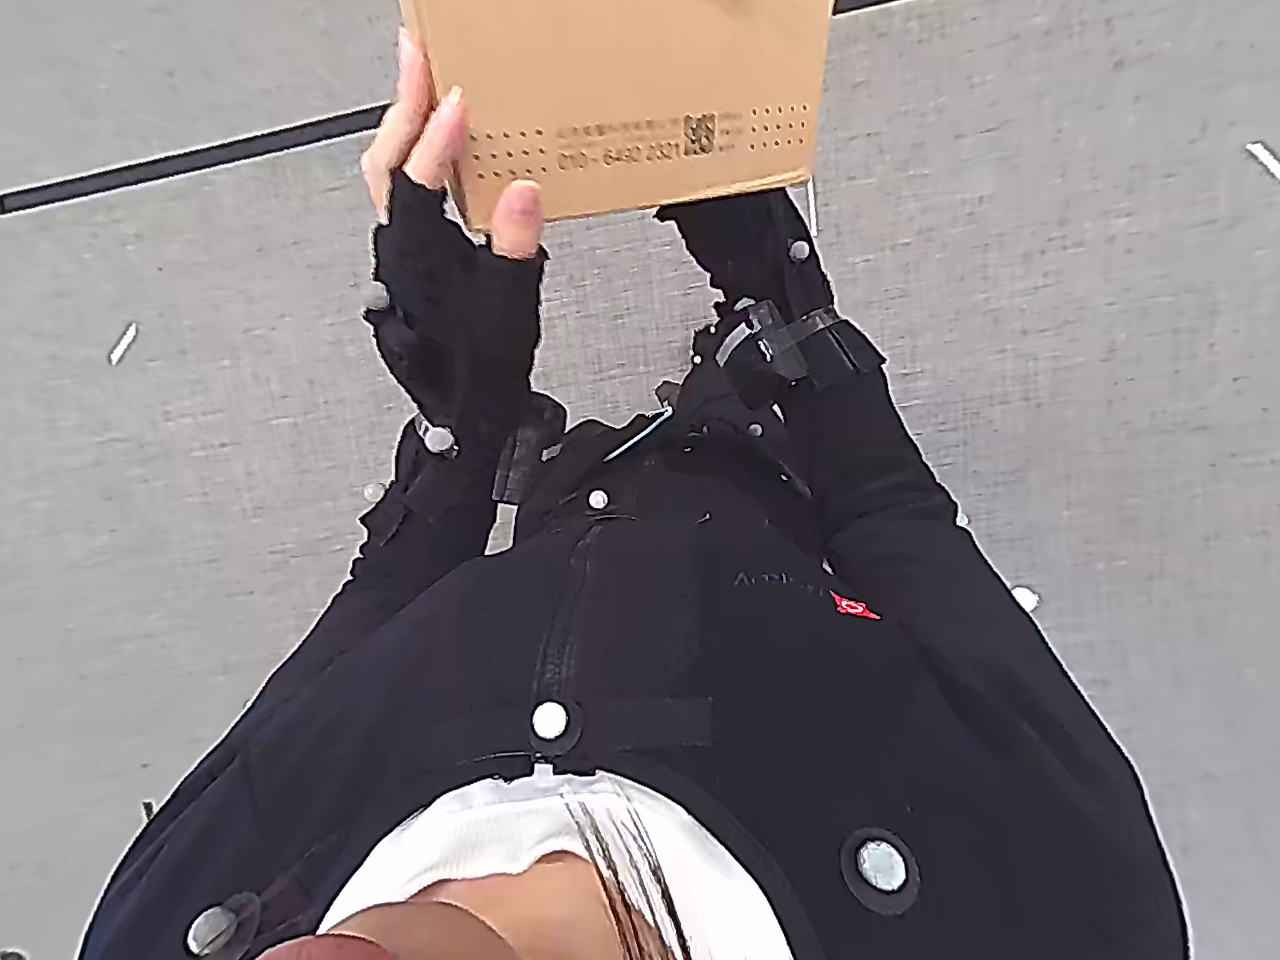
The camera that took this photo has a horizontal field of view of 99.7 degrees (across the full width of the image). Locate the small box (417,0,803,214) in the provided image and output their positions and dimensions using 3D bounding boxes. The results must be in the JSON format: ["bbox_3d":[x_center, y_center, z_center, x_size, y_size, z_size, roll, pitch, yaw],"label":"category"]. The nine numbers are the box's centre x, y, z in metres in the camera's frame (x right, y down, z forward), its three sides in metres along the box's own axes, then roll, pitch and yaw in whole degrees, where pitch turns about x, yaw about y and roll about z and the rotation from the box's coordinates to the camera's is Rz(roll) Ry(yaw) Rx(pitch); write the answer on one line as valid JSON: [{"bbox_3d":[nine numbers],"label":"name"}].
[{"bbox_3d":[-0.026,-0.244,0.275,0.168,0.179,0.176,-14,129,-13],"label":"small box"}]
